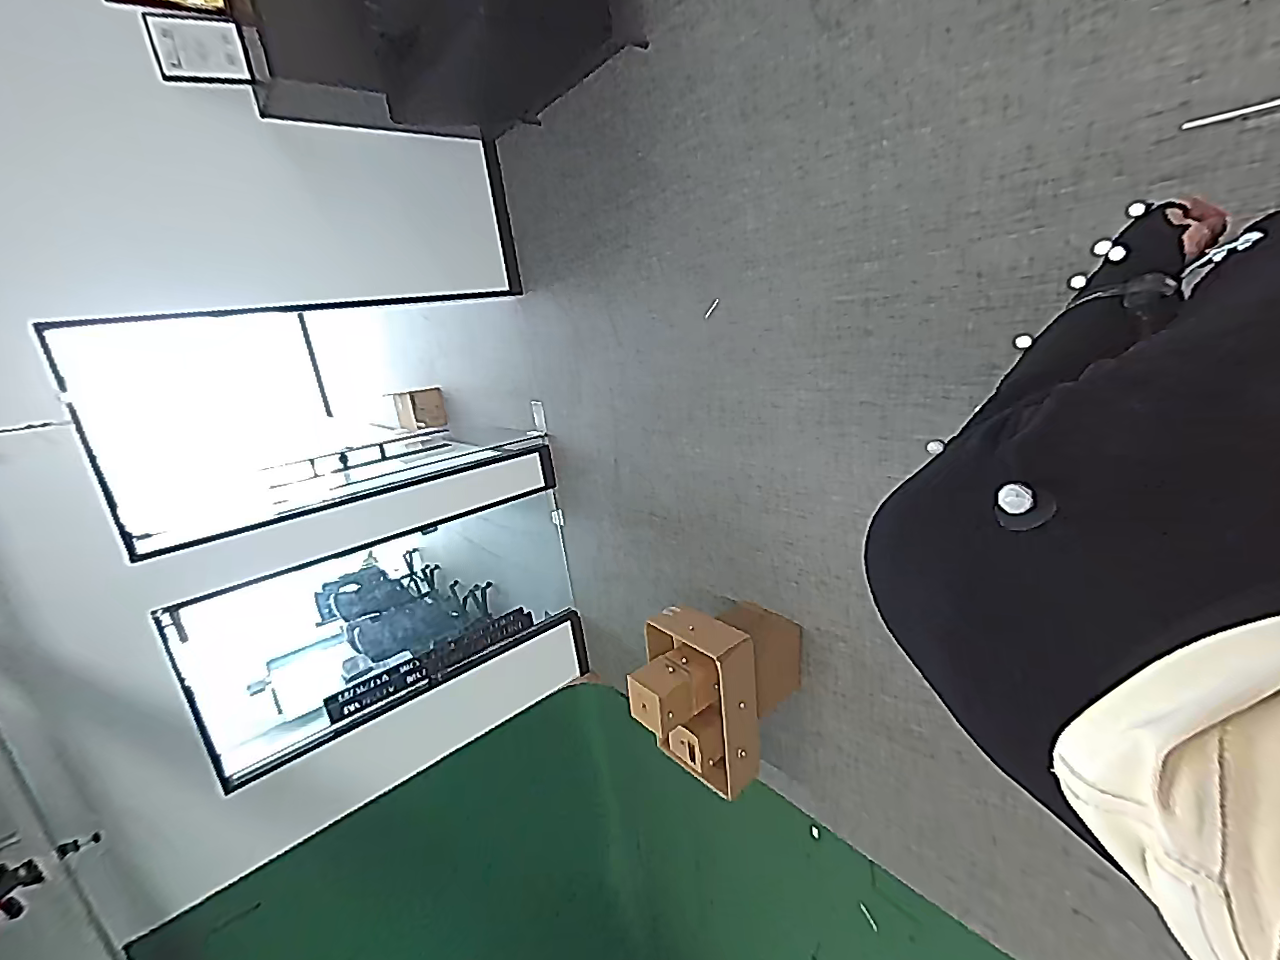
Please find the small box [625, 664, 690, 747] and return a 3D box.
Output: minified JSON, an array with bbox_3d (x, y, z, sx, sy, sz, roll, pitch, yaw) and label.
[{"bbox_3d":[0.066,0.793,1.918,0.168,0.176,0.179,14,115,47],"label":"small box"}]
